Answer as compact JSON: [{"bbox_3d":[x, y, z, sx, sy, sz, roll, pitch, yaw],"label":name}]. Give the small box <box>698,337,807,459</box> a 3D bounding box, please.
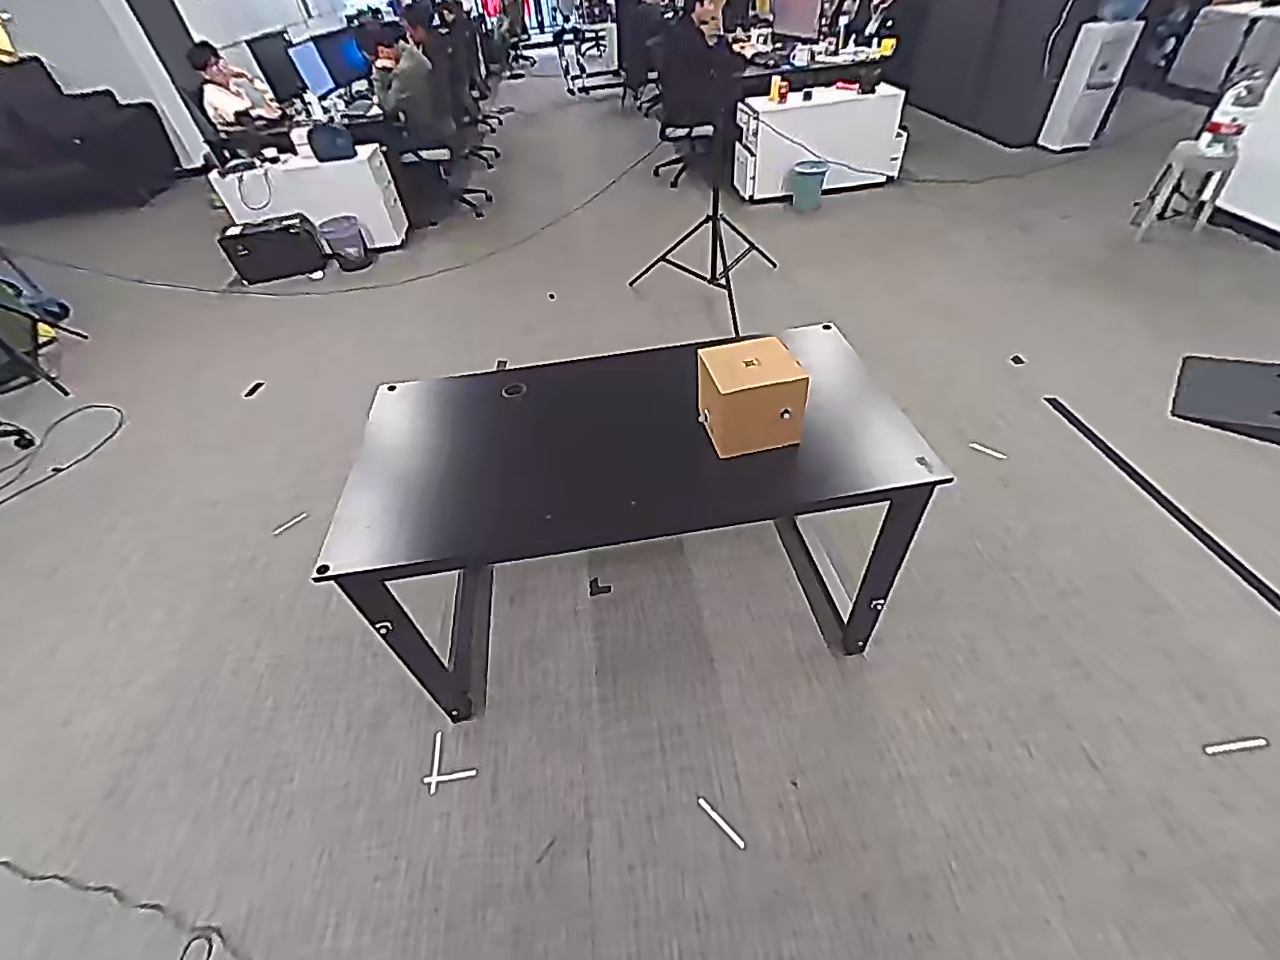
[{"bbox_3d":[0.225,-0.169,1.124,0.179,0.176,0.168,-13,44,-4],"label":"small box"}]
